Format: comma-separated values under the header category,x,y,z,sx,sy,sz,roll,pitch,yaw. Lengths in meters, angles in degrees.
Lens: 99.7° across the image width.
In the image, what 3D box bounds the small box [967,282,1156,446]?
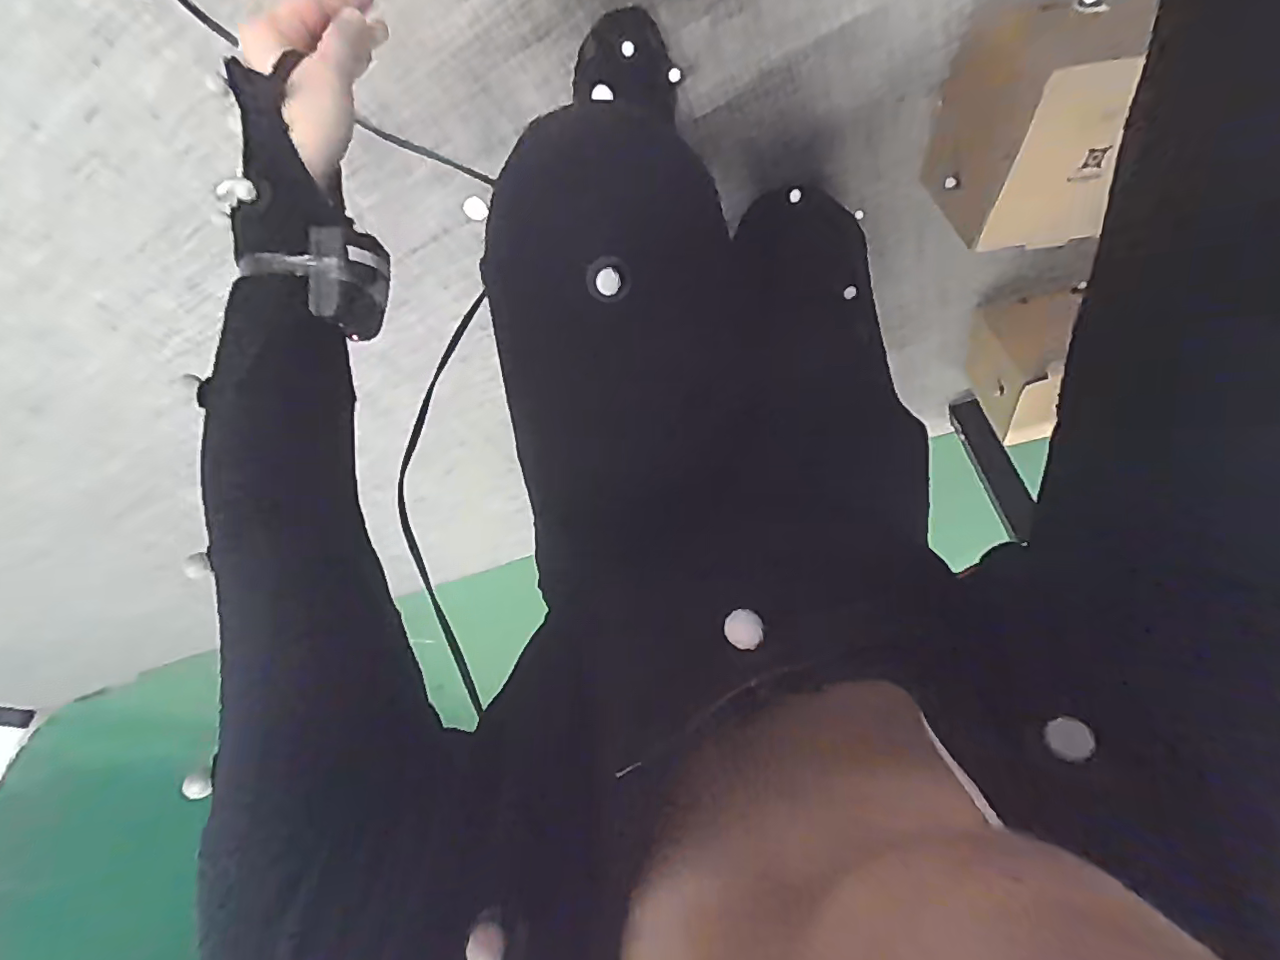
category,x,y,z,sx,sy,sz,roll,pitch,yaw
small box,0.643,-0.186,0.856,0.168,0.176,0.179,-14,145,16

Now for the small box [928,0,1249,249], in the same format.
category,x,y,z,sx,sy,sz,roll,pitch,yaw
small box,0.430,-0.375,0.565,0.168,0.176,0.179,-7,144,3
